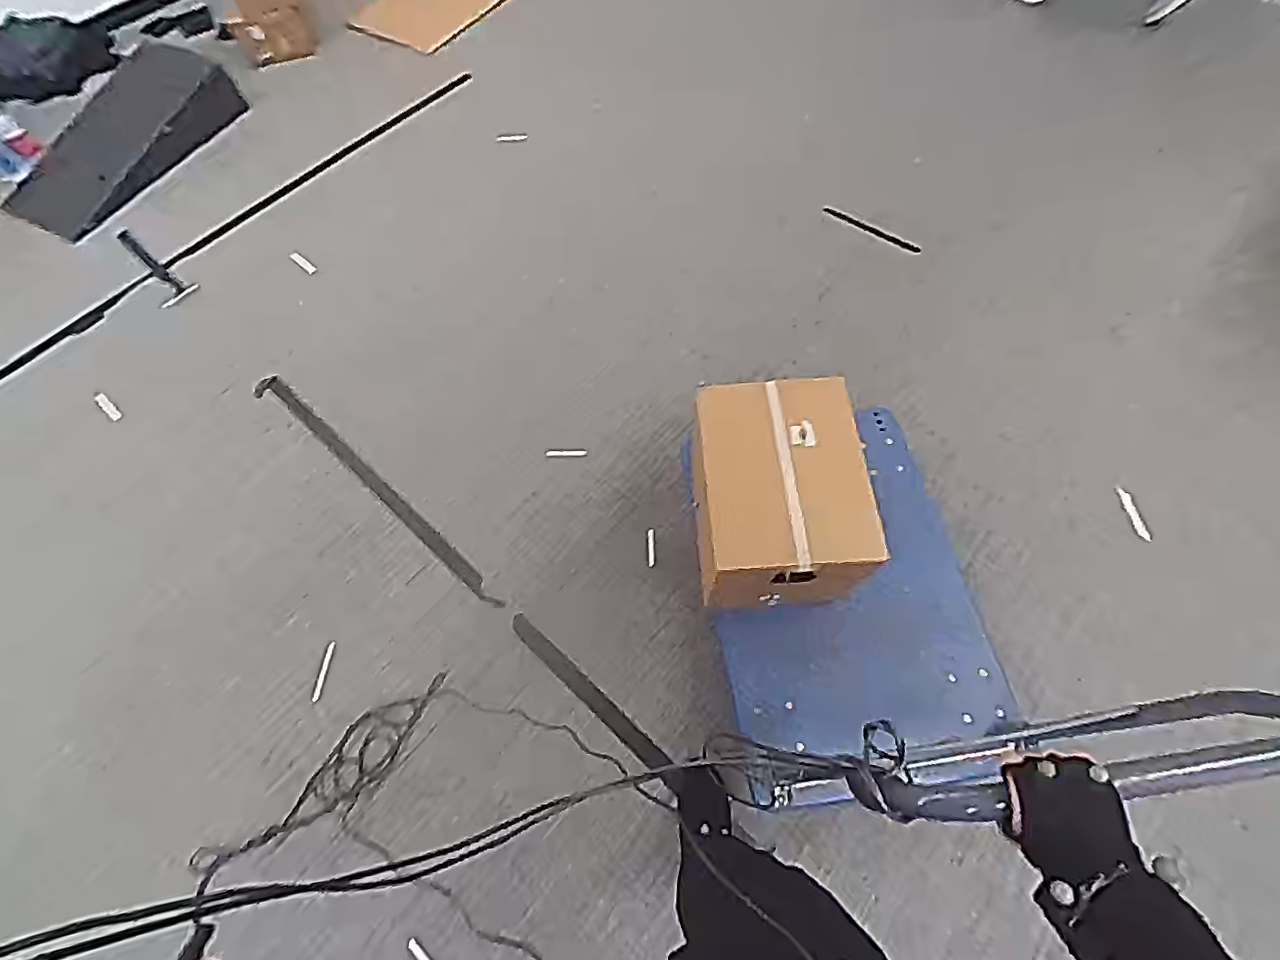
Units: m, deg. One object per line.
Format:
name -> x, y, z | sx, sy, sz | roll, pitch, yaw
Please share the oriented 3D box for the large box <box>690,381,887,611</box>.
large box -> 0.285, 0.045, 1.182 | 0.320, 0.320, 0.408 | -3, 63, 0
